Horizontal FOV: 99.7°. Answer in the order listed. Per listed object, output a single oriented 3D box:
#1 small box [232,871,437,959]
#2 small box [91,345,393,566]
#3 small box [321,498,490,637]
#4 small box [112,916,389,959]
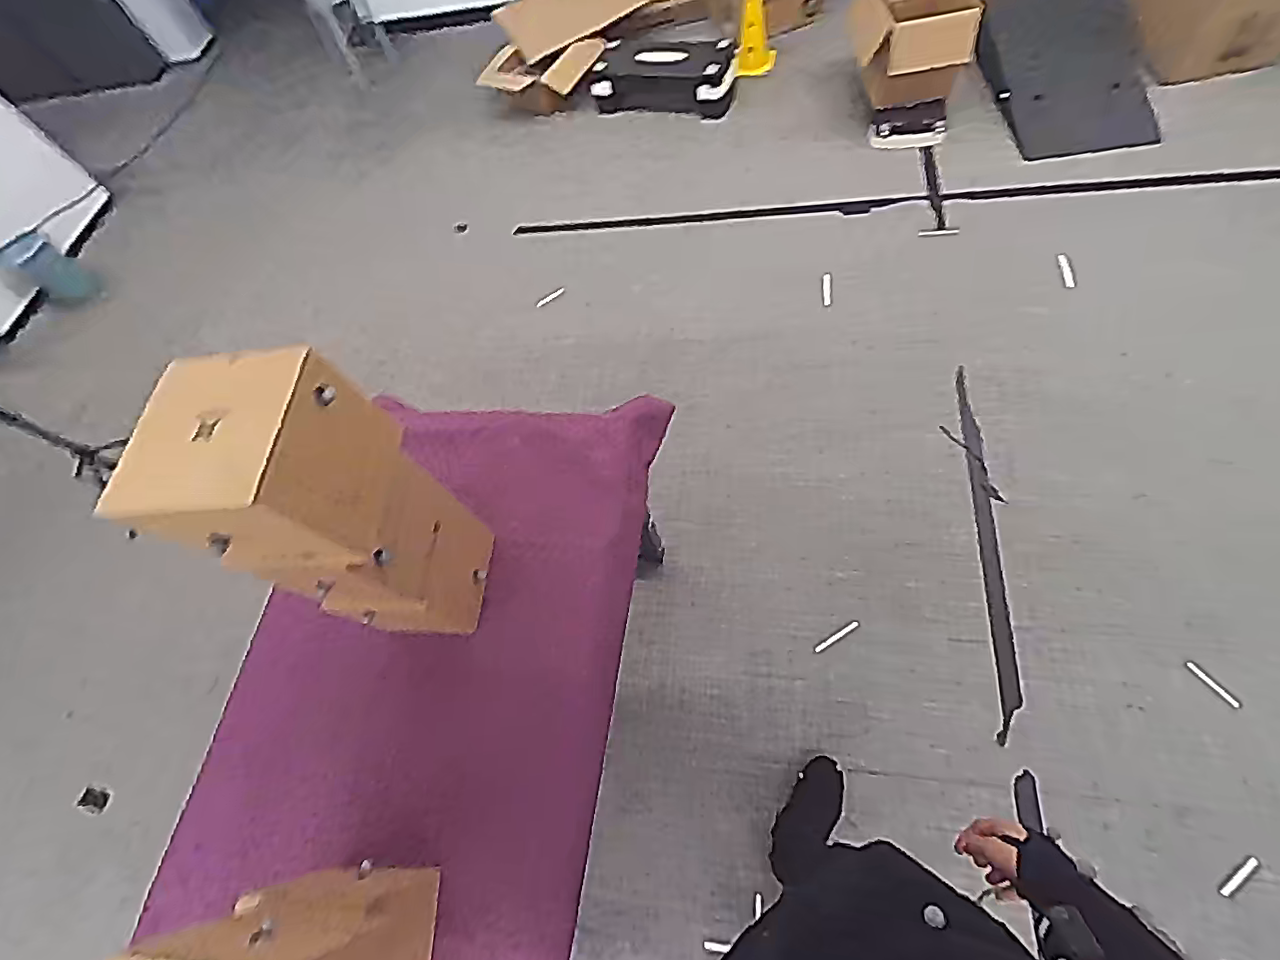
[{"bbox_3d":[-0.361,0.585,0.636,0.168,0.176,0.179,-6,62,8],"label":"small box"},{"bbox_3d":[-0.392,-0.013,0.572,0.168,0.176,0.179,-4,63,9],"label":"small box"},{"bbox_3d":[-0.355,0.142,0.860,0.168,0.176,0.179,-1,63,10],"label":"small box"},{"bbox_3d":[-0.365,0.517,0.484,0.179,0.176,0.168,-3,63,8],"label":"small box"}]
